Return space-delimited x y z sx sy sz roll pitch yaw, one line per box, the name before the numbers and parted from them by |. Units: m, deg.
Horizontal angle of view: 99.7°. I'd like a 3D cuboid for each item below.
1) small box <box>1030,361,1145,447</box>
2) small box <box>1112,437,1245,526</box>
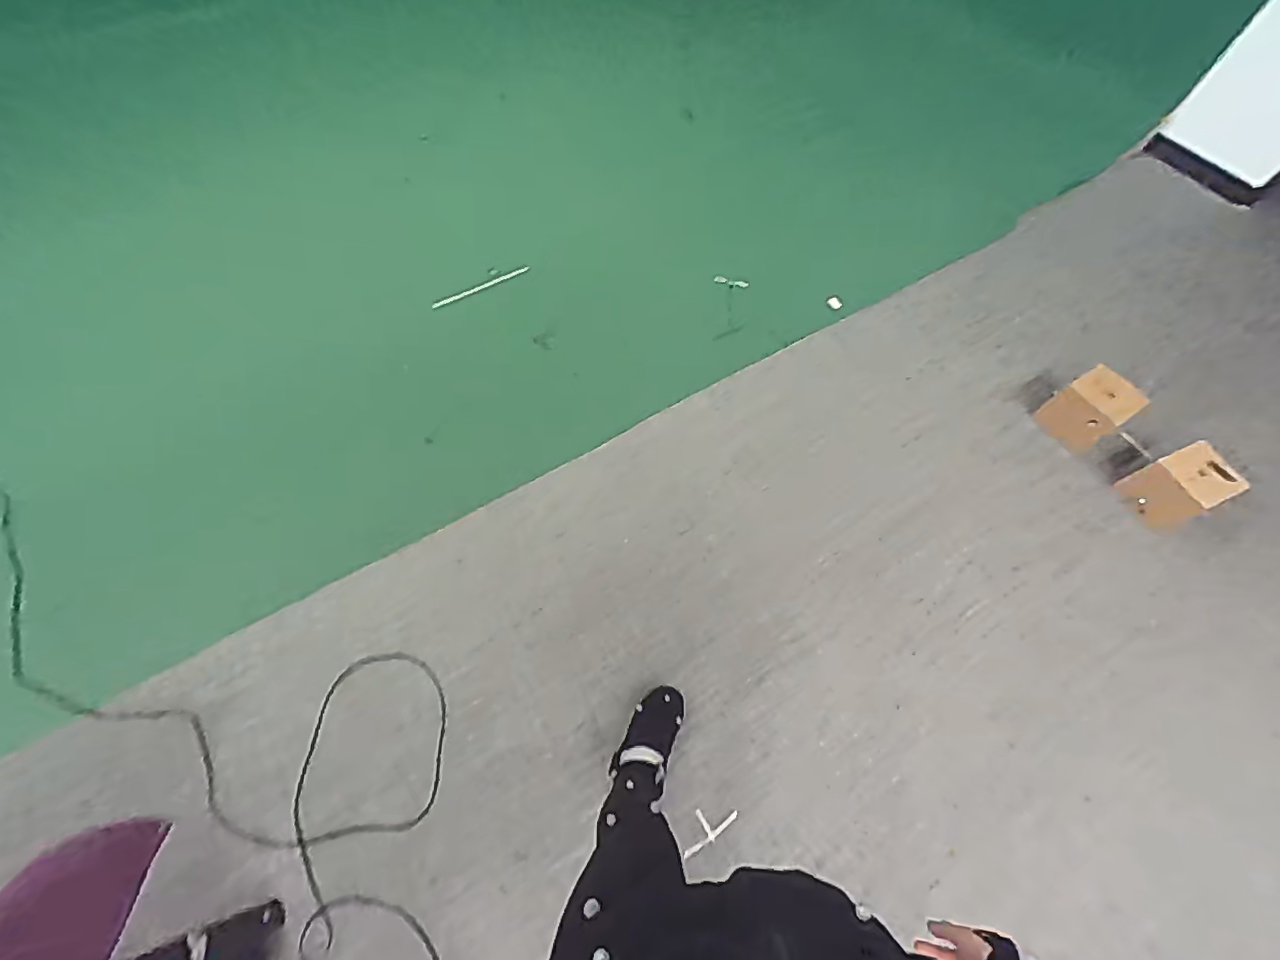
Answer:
small box | 1.370 -0.225 1.667 0.168 0.176 0.179 -30 67 -16
small box | 1.531 0.008 1.552 0.179 0.176 0.168 -21 65 -11
